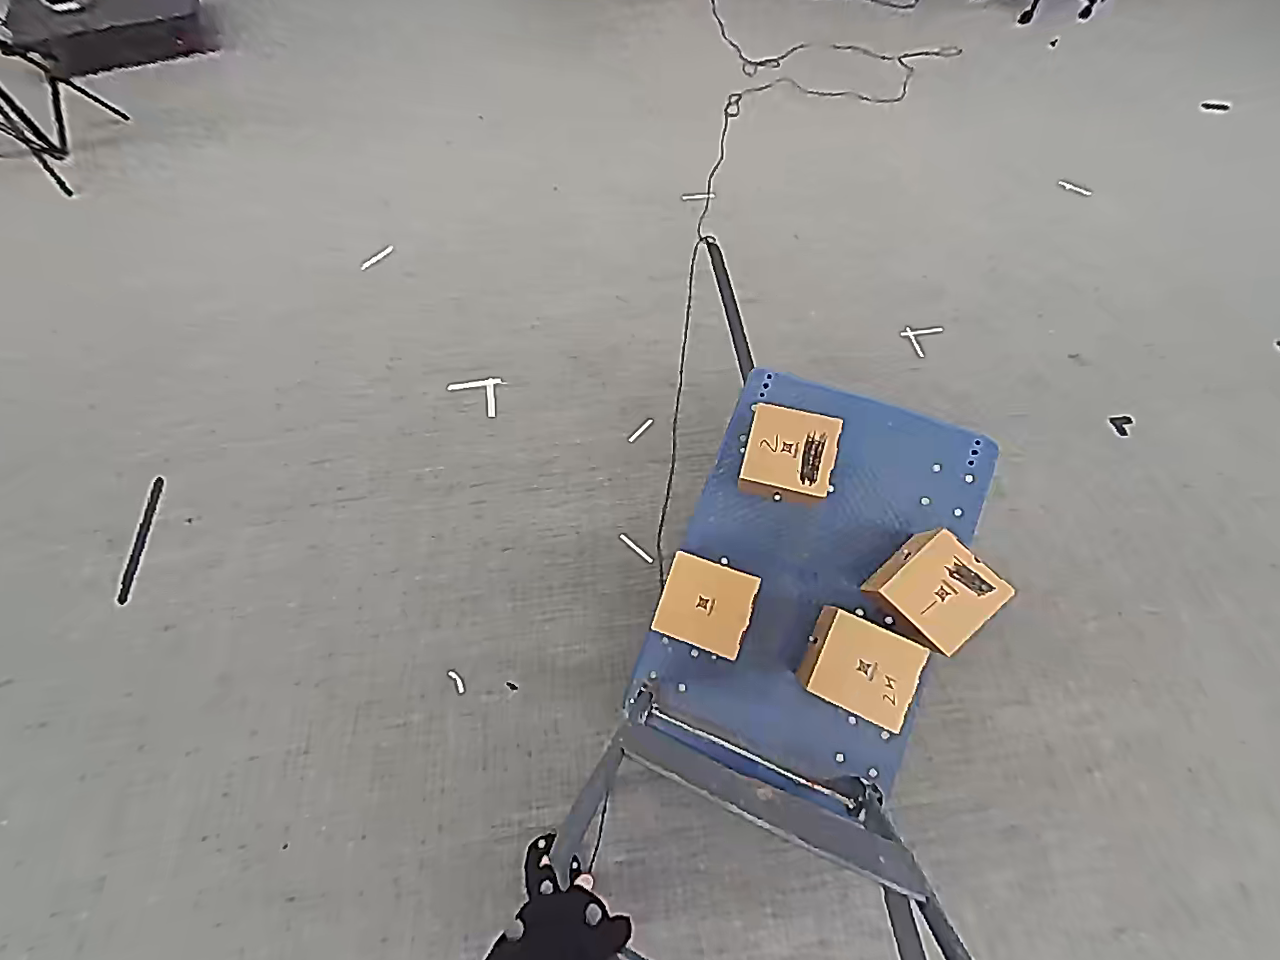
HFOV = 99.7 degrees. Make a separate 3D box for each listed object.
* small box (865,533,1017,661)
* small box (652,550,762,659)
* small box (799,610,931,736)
[{"bbox_3d":[0.579,0.226,1.069,0.179,0.176,0.168,-43,76,0],"label":"small box"},{"bbox_3d":[0.141,0.258,1.135,0.179,0.176,0.168,19,83,10],"label":"small box"},{"bbox_3d":[0.430,0.368,1.066,0.179,0.176,0.168,25,85,13],"label":"small box"}]
